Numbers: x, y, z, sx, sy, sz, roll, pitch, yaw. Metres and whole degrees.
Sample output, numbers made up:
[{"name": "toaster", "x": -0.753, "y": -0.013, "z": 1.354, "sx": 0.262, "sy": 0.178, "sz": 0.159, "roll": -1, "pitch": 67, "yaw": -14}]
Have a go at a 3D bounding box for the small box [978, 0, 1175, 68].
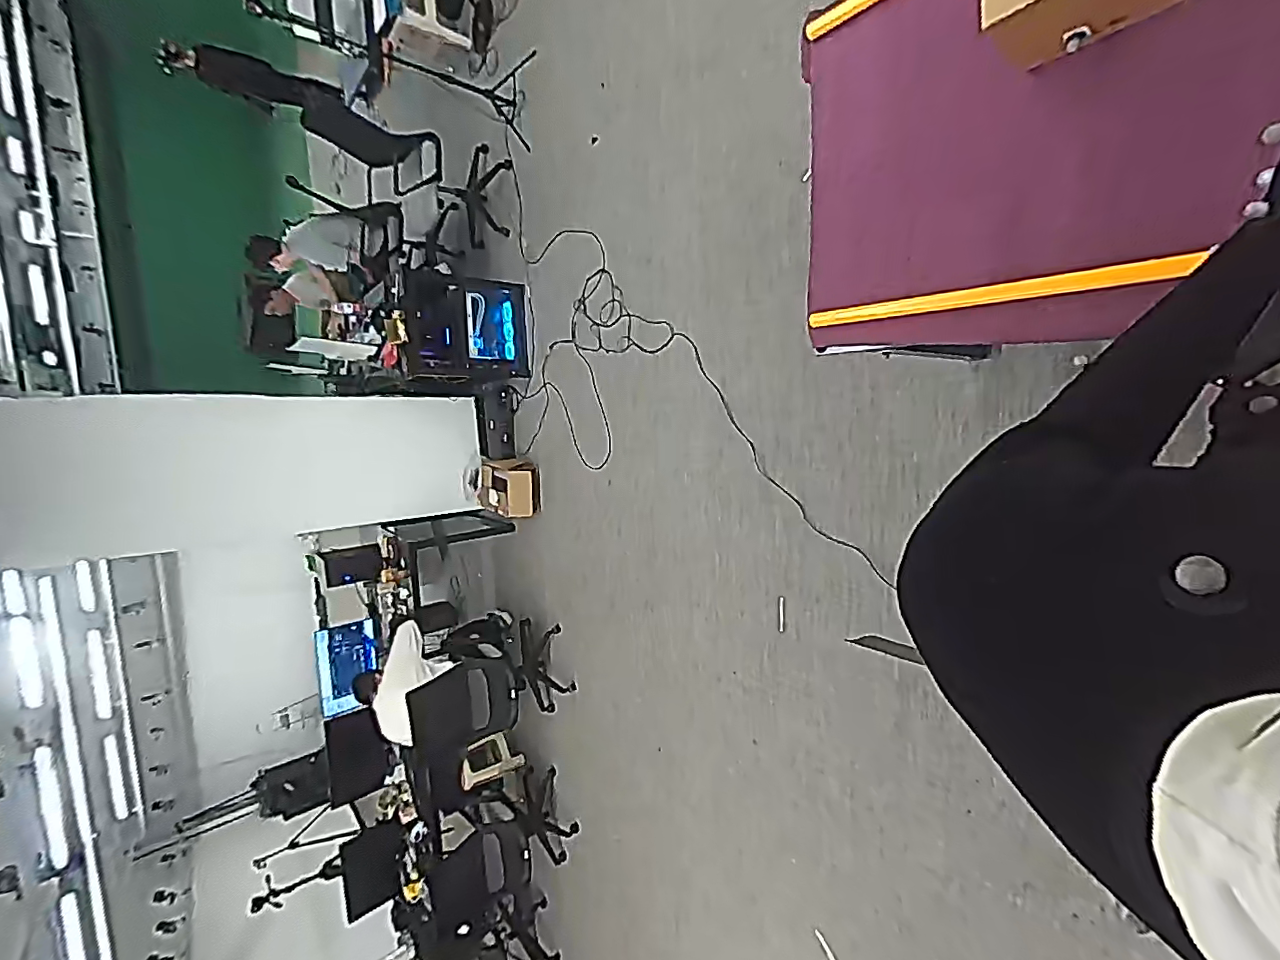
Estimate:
[{"name": "small box", "x": 0.521, "y": -0.644, "z": 0.638, "sx": 0.168, "sy": 0.176, "sz": 0.179, "roll": 3, "pitch": 100, "yaw": 51}]
